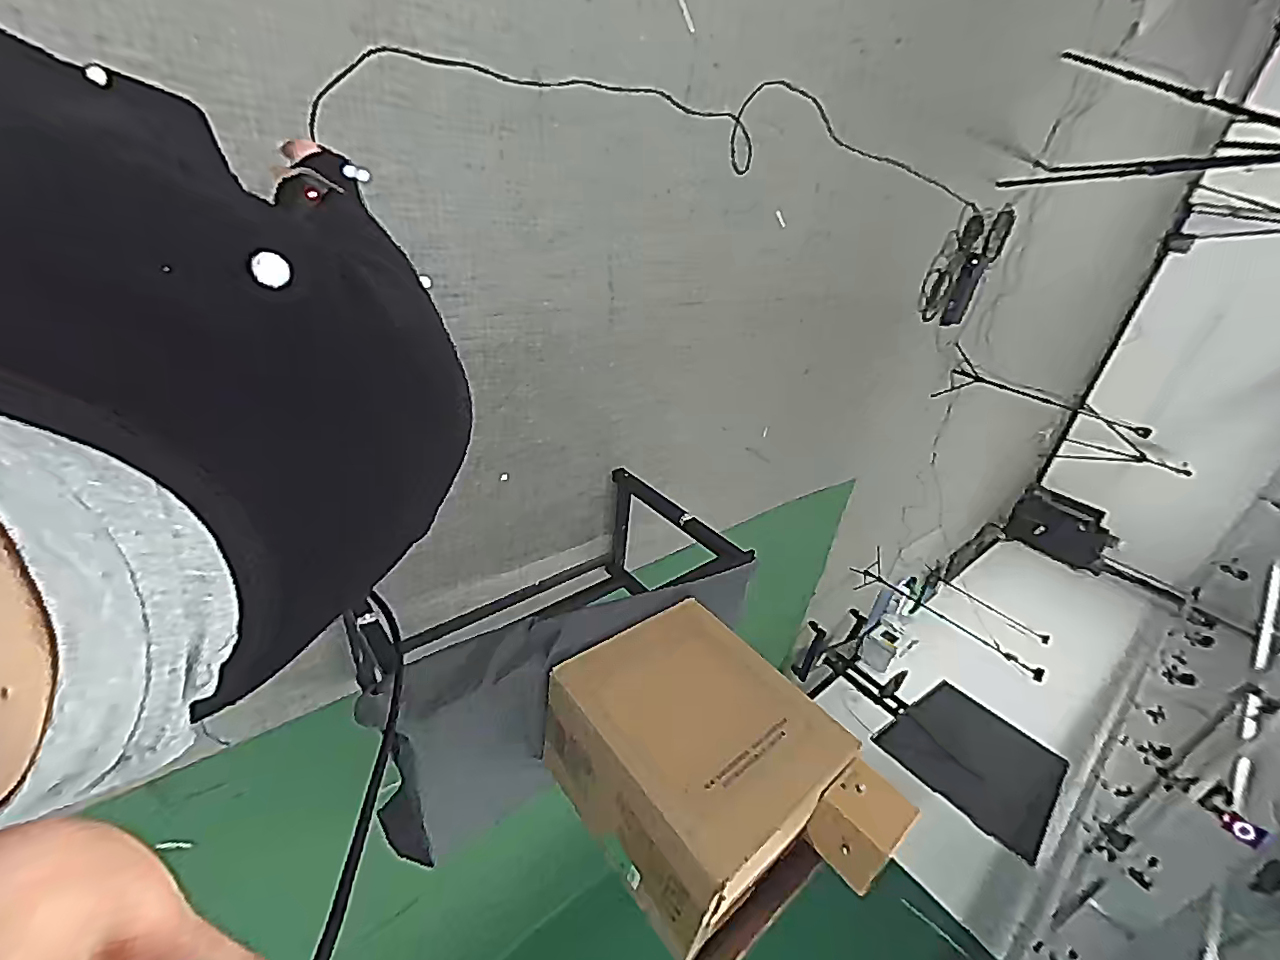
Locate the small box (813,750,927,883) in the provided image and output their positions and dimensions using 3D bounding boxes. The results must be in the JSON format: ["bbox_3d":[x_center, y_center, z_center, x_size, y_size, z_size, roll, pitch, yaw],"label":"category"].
[{"bbox_3d":[0.539,0.791,1.287,0.168,0.176,0.179,-18,127,-39],"label":"small box"}]
